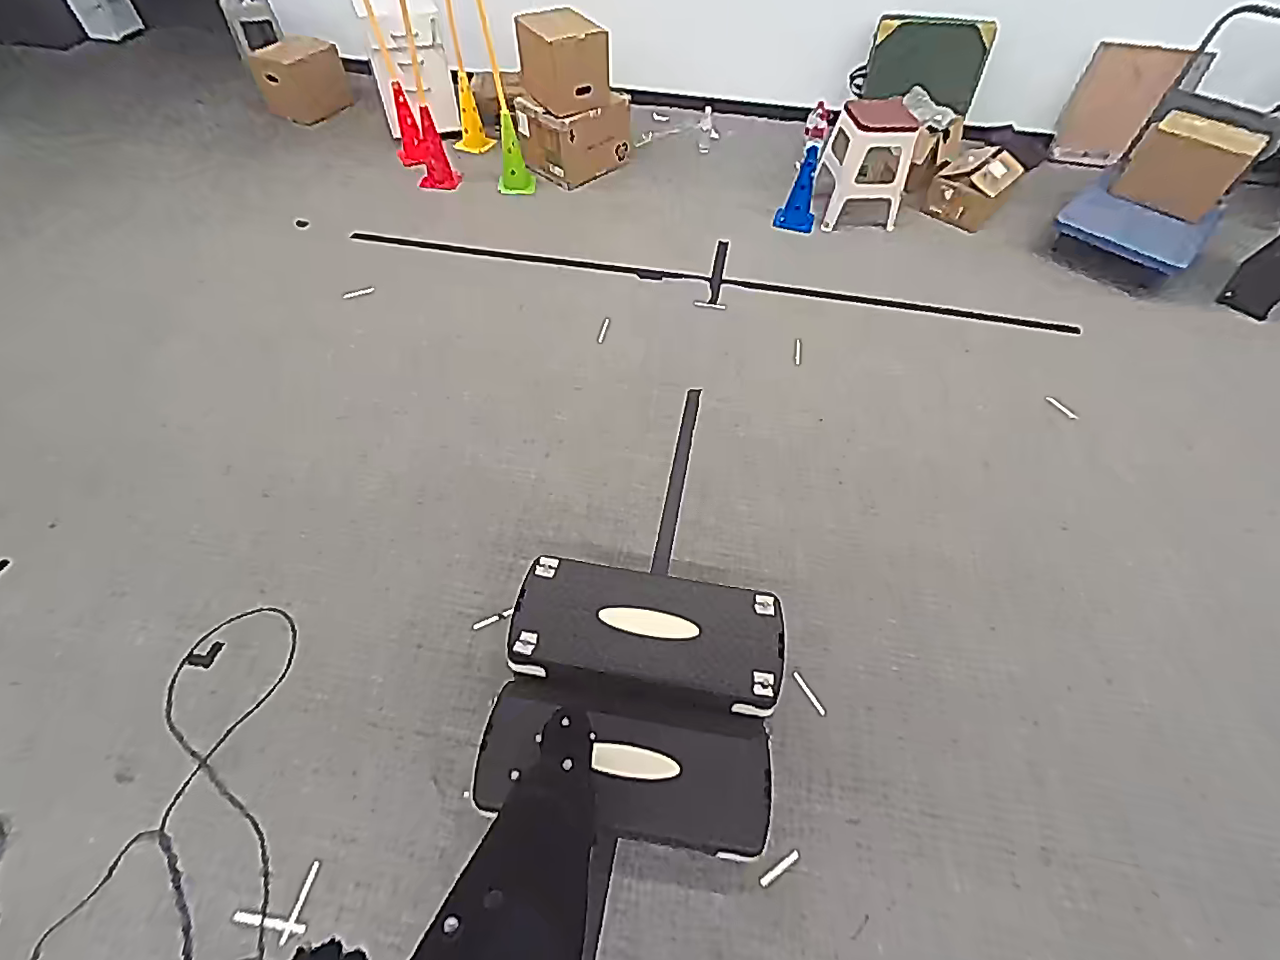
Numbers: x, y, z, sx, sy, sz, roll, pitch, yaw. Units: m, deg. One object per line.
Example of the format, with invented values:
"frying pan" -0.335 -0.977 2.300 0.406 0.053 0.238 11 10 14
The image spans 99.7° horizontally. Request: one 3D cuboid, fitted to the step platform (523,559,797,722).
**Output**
"step platform" 0.050 0.407 1.394 0.684 0.204 0.286 9 54 3
